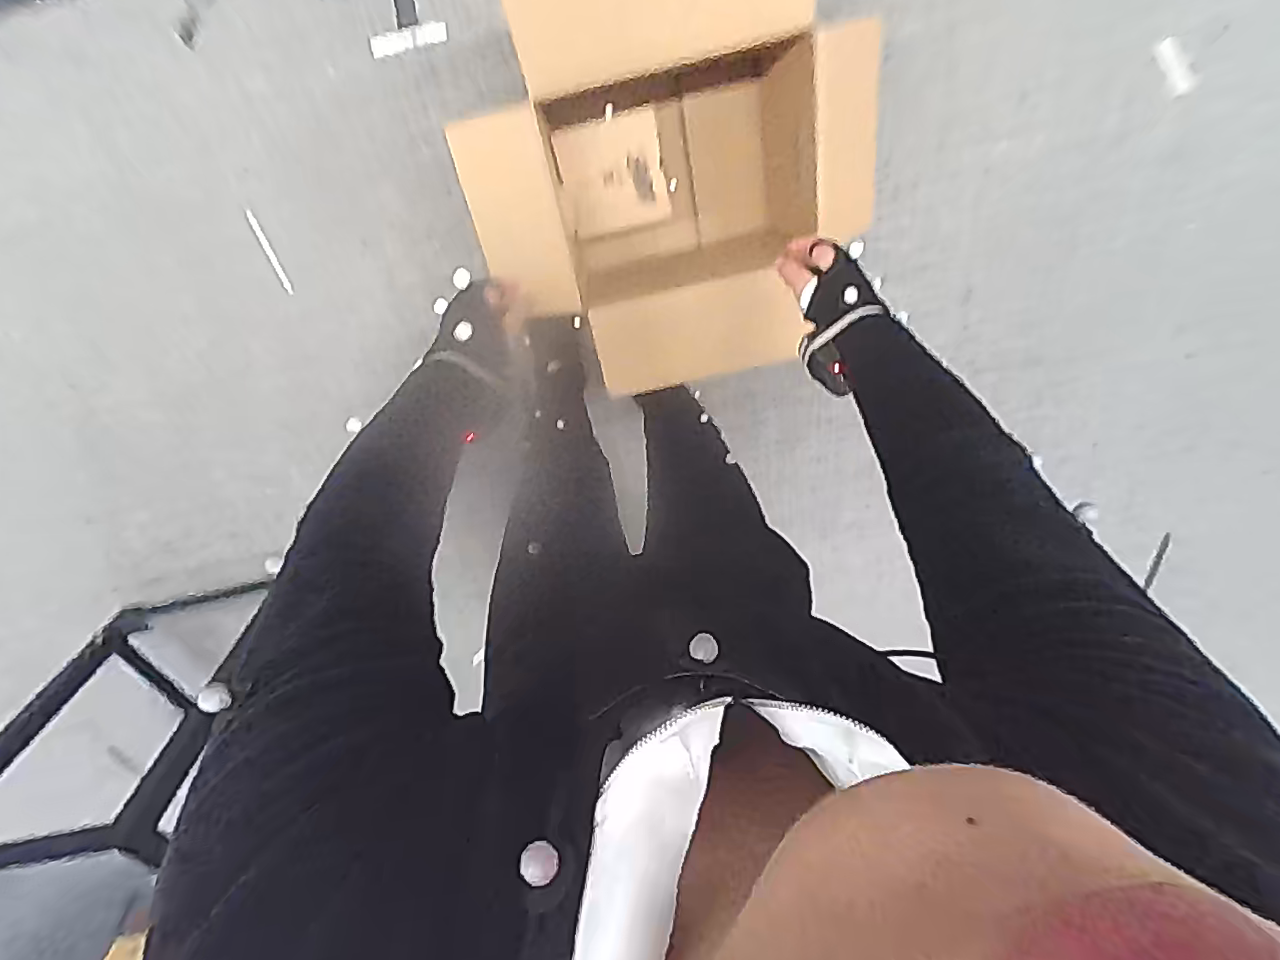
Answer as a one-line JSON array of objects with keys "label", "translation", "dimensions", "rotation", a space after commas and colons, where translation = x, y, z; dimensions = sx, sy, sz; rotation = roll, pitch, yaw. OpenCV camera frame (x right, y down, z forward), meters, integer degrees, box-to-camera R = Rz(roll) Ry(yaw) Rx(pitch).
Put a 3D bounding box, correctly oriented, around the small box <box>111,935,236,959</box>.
[{"label": "small box", "translation": [-0.988, 1.057, 1.100], "dimensions": [0.168, 0.176, 0.179], "rotation": [-11, 124, 4]}]
